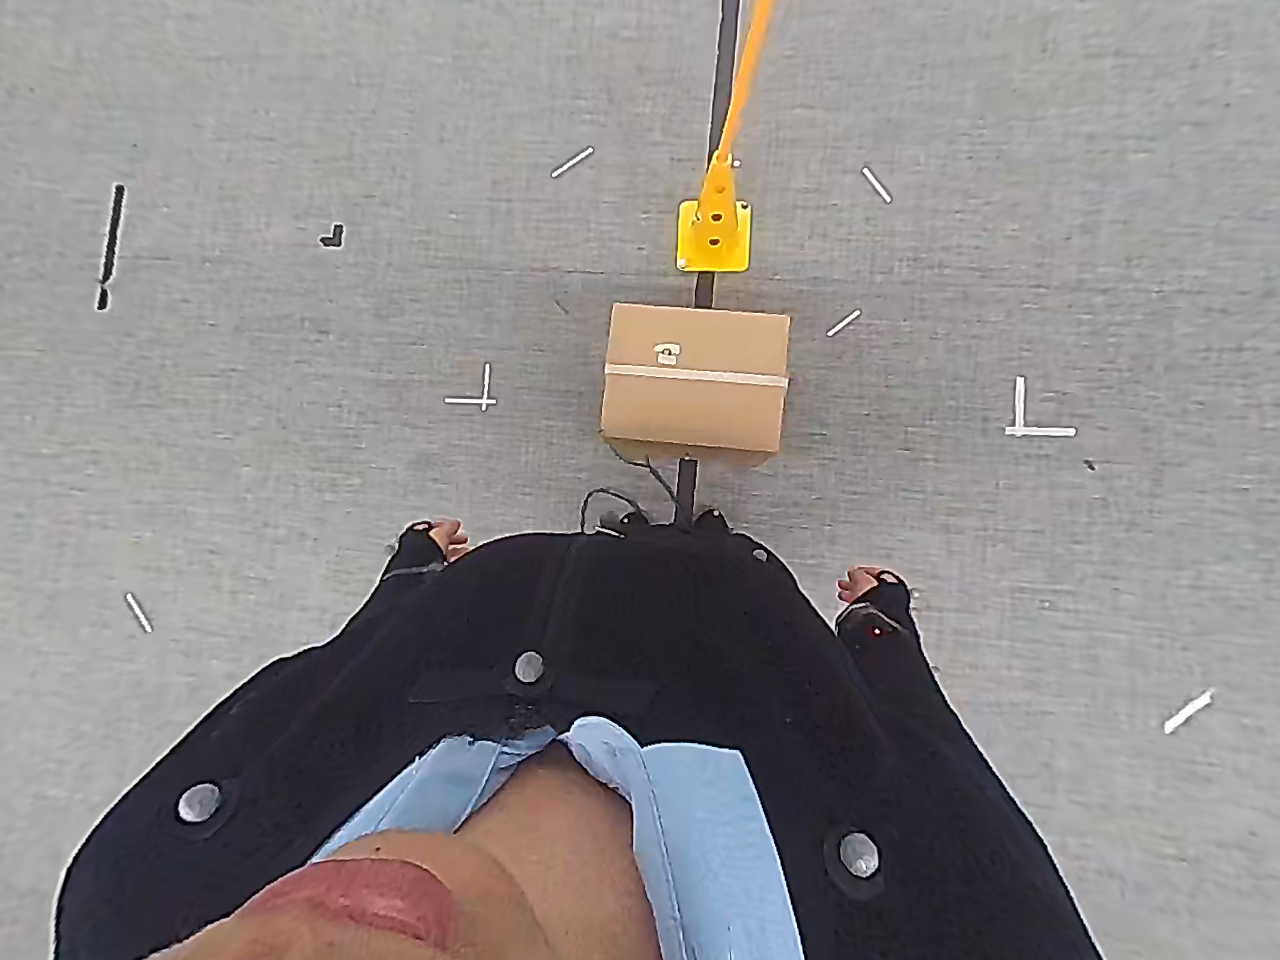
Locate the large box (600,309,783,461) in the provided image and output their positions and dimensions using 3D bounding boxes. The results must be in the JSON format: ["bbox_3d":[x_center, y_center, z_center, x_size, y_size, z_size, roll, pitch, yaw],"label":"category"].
[{"bbox_3d":[0.130,-0.223,1.375,0.408,0.320,0.320,5,86,5],"label":"large box"}]
